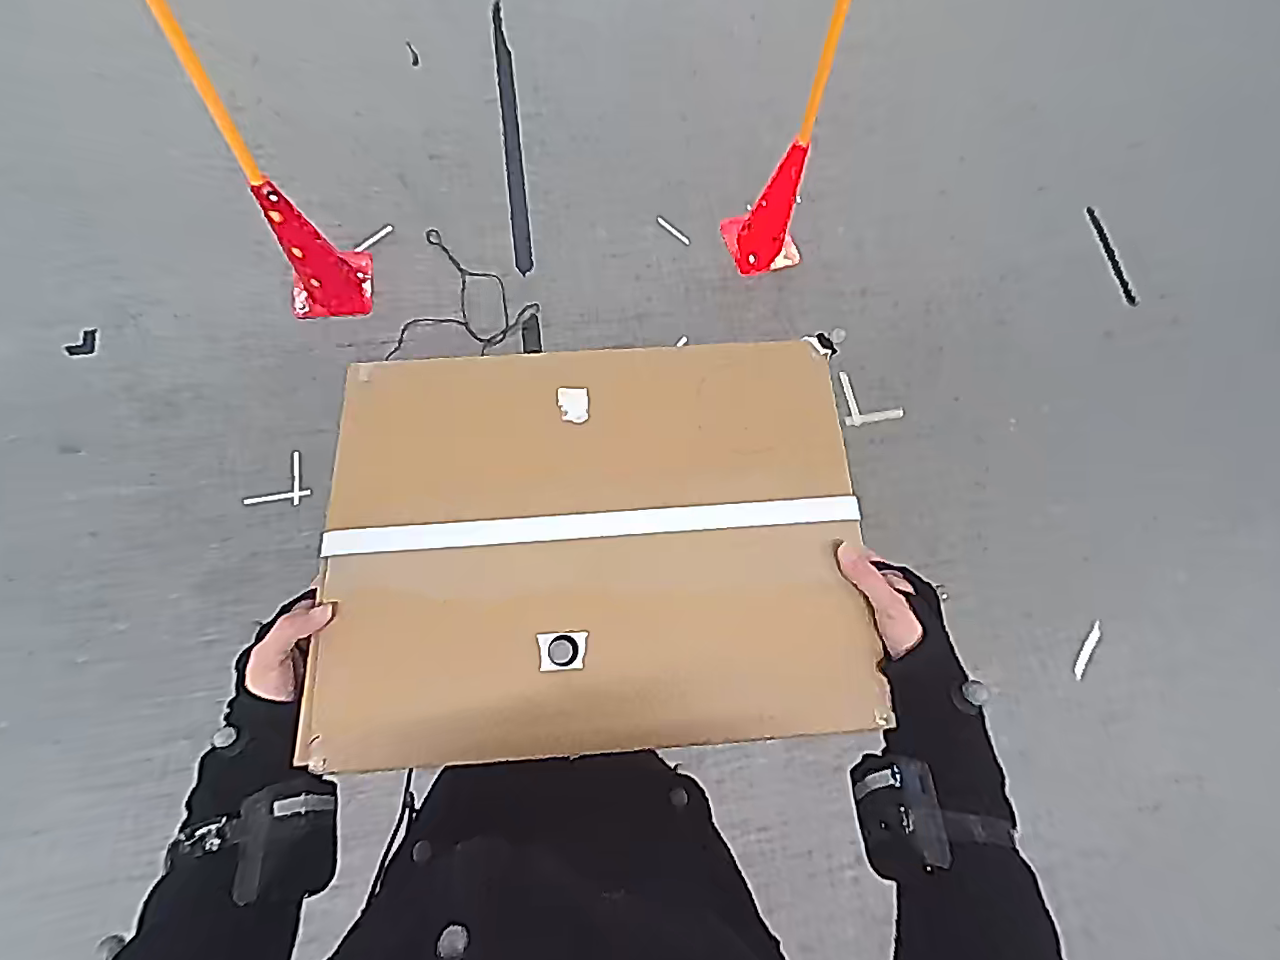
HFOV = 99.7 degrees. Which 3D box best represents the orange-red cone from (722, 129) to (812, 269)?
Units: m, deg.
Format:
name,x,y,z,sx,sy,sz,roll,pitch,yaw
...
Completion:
name,x,y,z,sx,sy,sz,roll,pitch,yaw
orange-red cone,0.371,-0.762,1.431,0.199,0.360,0.198,-16,78,-10
